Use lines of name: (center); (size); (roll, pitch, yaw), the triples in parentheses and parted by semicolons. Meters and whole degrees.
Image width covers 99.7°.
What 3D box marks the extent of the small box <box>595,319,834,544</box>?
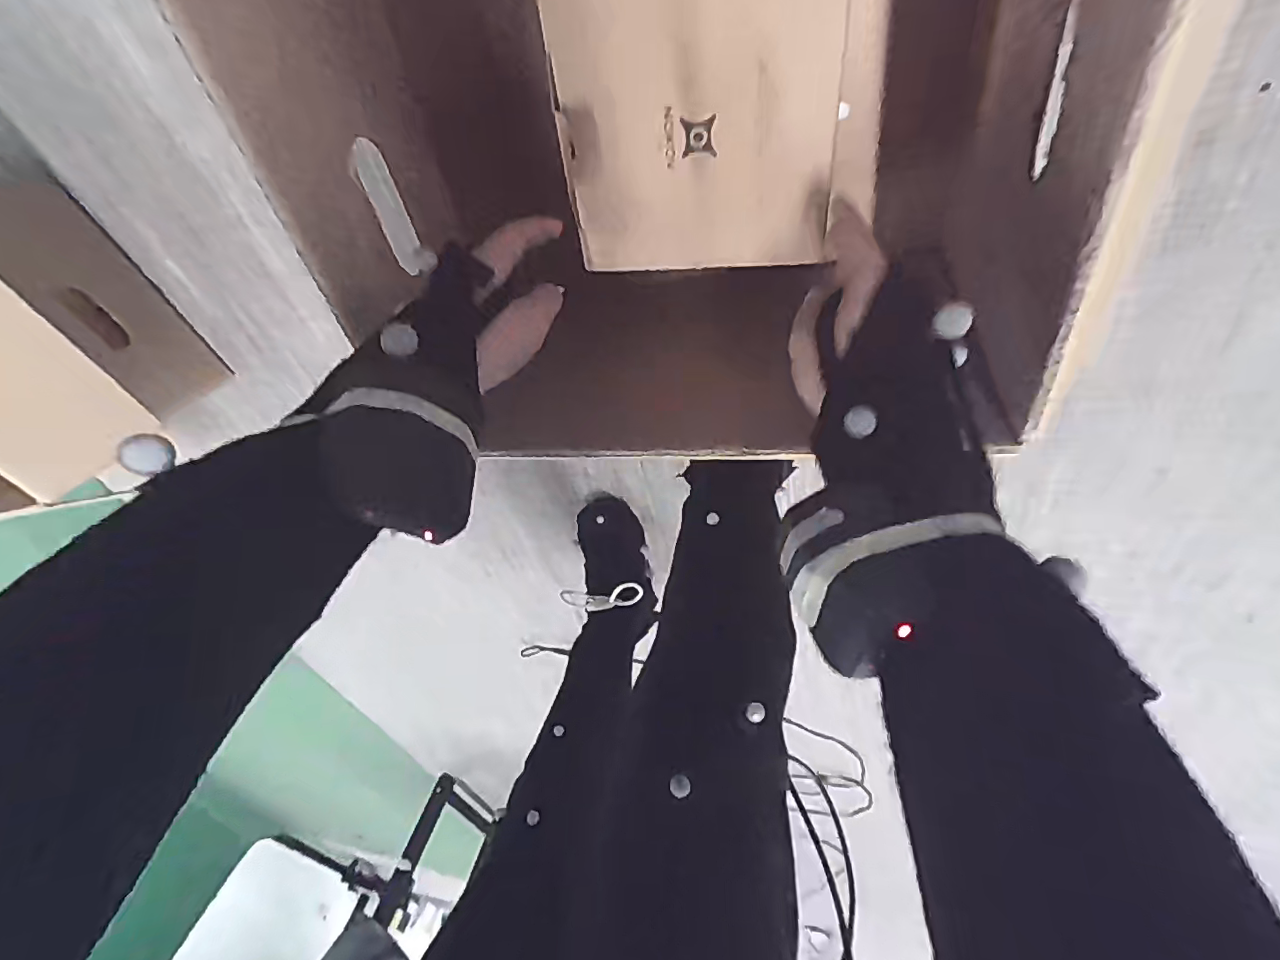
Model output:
small box: (0.077, -0.036, 0.594); (0.179, 0.168, 0.176); (26, 157, -20)
